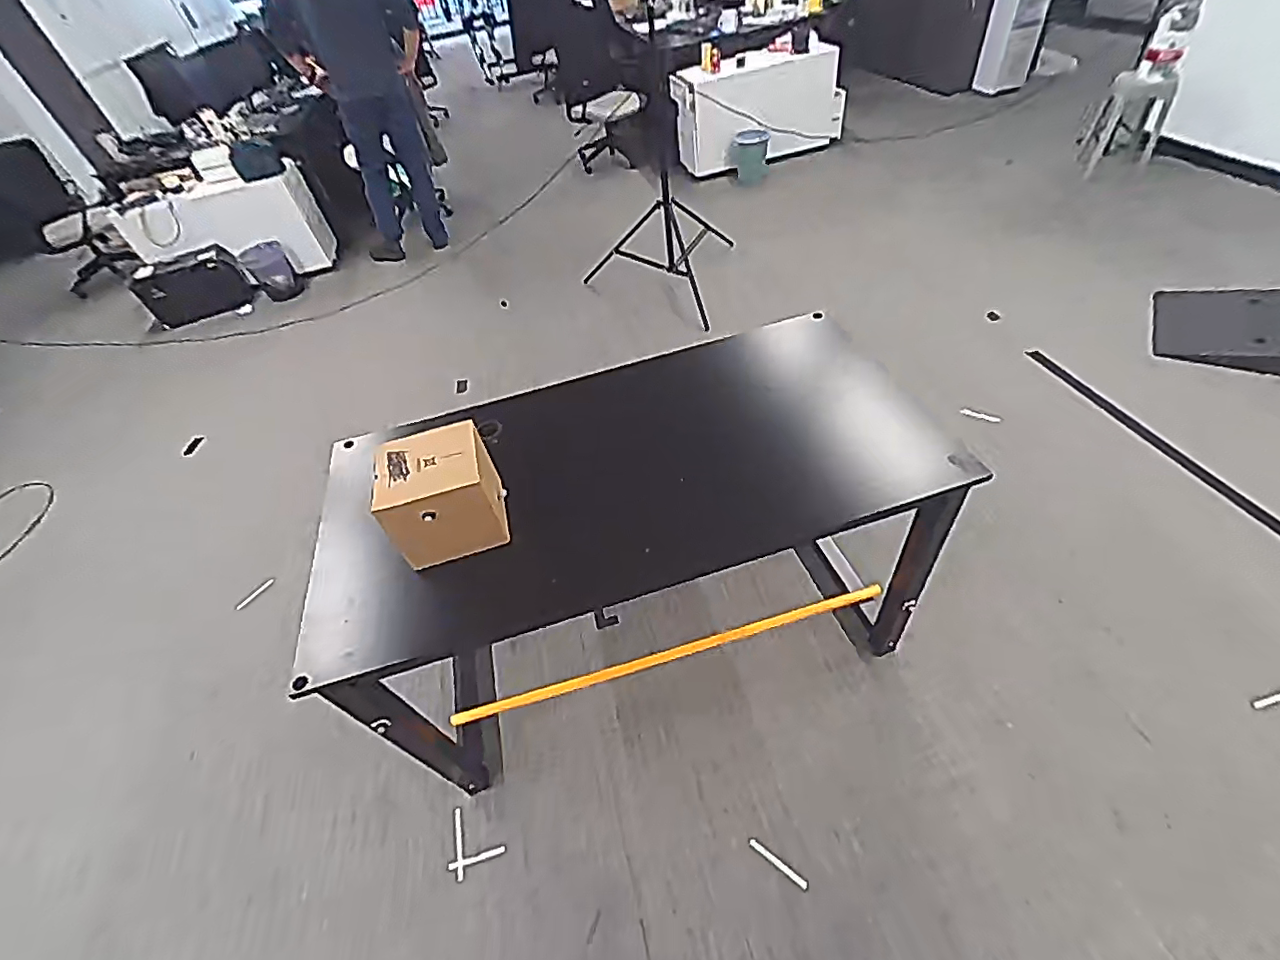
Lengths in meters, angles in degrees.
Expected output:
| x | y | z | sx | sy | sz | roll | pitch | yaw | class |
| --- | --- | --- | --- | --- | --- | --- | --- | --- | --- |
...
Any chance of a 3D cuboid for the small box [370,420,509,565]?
| x | y | z | sx | sy | sz | roll | pitch | yaw | class |
| --- | --- | --- | --- | --- | --- | --- | --- | --- | --- |
| -0.349 | 0.026 | 0.960 | 0.179 | 0.176 | 0.168 | -16 | 47 | -6 | small box |
